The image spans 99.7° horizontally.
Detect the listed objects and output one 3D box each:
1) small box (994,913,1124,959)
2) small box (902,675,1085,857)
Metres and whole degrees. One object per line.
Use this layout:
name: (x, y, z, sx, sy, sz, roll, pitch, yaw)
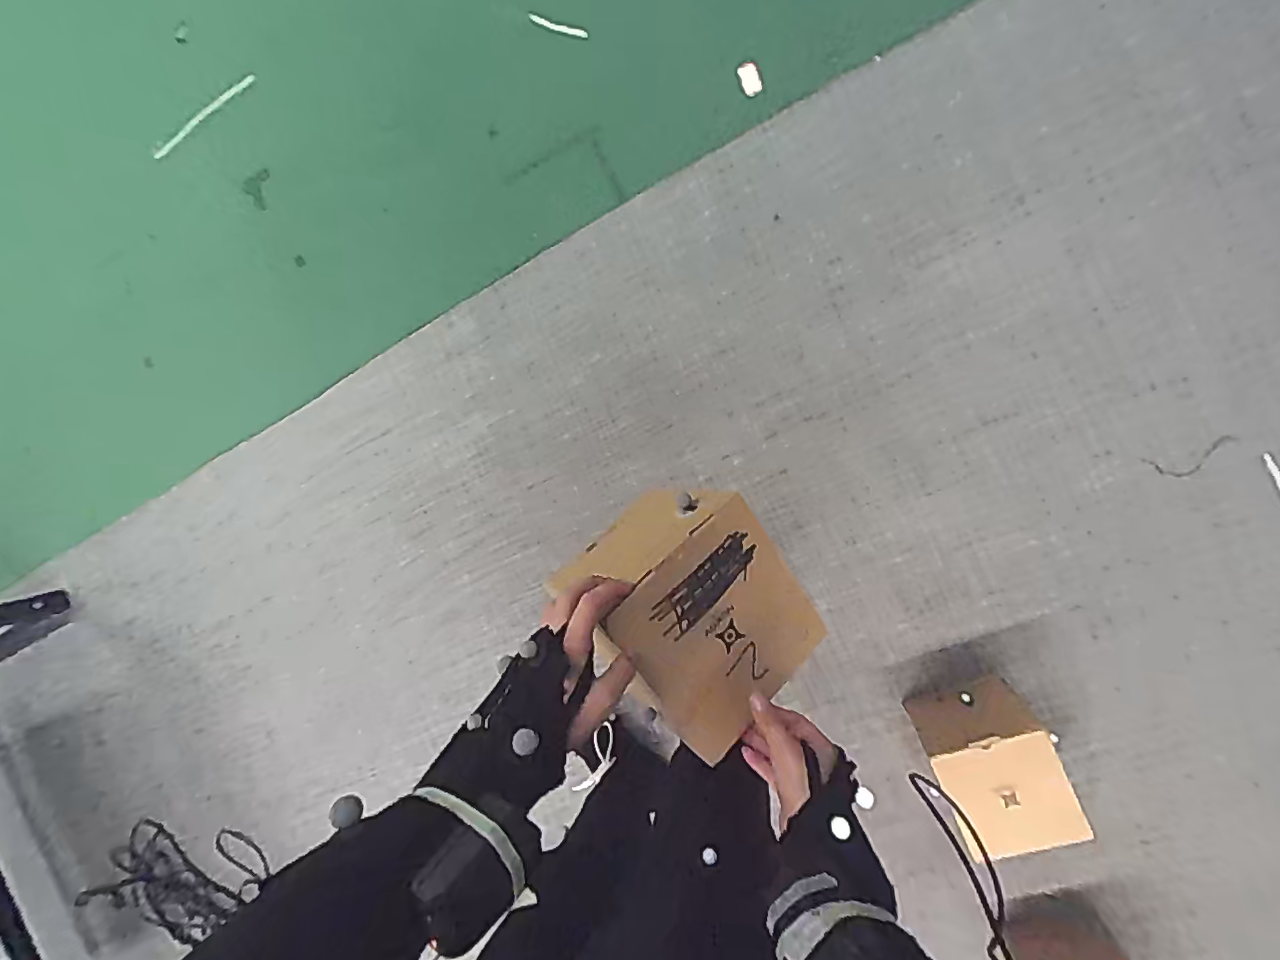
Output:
small box: (0.704, 0.848, 0.869, 0.179, 0.176, 0.168, -20, 92, 13)
small box: (0.548, 0.447, 0.865, 0.168, 0.176, 0.179, -24, 89, 15)
